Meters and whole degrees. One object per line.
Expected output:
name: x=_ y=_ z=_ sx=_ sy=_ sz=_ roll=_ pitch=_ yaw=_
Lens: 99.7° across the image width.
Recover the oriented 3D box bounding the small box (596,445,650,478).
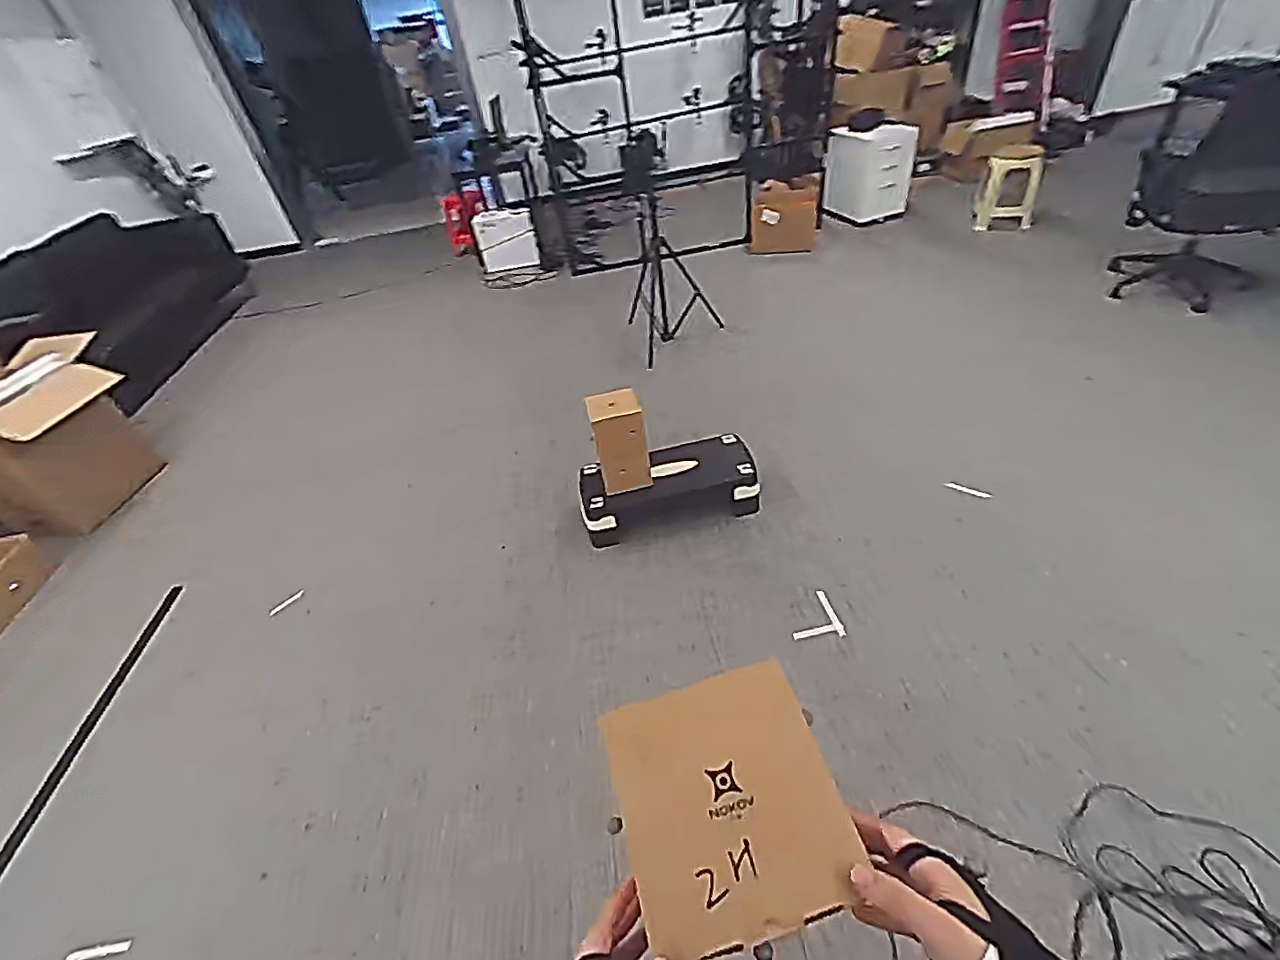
small box: x=-0.064 y=-0.074 z=2.005 sx=0.179 sy=0.176 sz=0.168 roll=-14 pitch=41 yaw=-4

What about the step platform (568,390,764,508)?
step platform: x=0.092 y=-0.113 z=1.962 sx=0.684 sy=0.204 sz=0.286 roll=-12 pitch=40 yaw=-3

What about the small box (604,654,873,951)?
small box: x=0.071 y=0.289 z=0.486 sx=0.168 sy=0.176 sz=0.179 roll=-14 pitch=50 yaw=-6

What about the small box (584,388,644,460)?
small box: x=-0.087 y=-0.195 z=1.897 sx=0.179 sy=0.176 sz=0.168 roll=-14 pitch=40 yaw=-5
